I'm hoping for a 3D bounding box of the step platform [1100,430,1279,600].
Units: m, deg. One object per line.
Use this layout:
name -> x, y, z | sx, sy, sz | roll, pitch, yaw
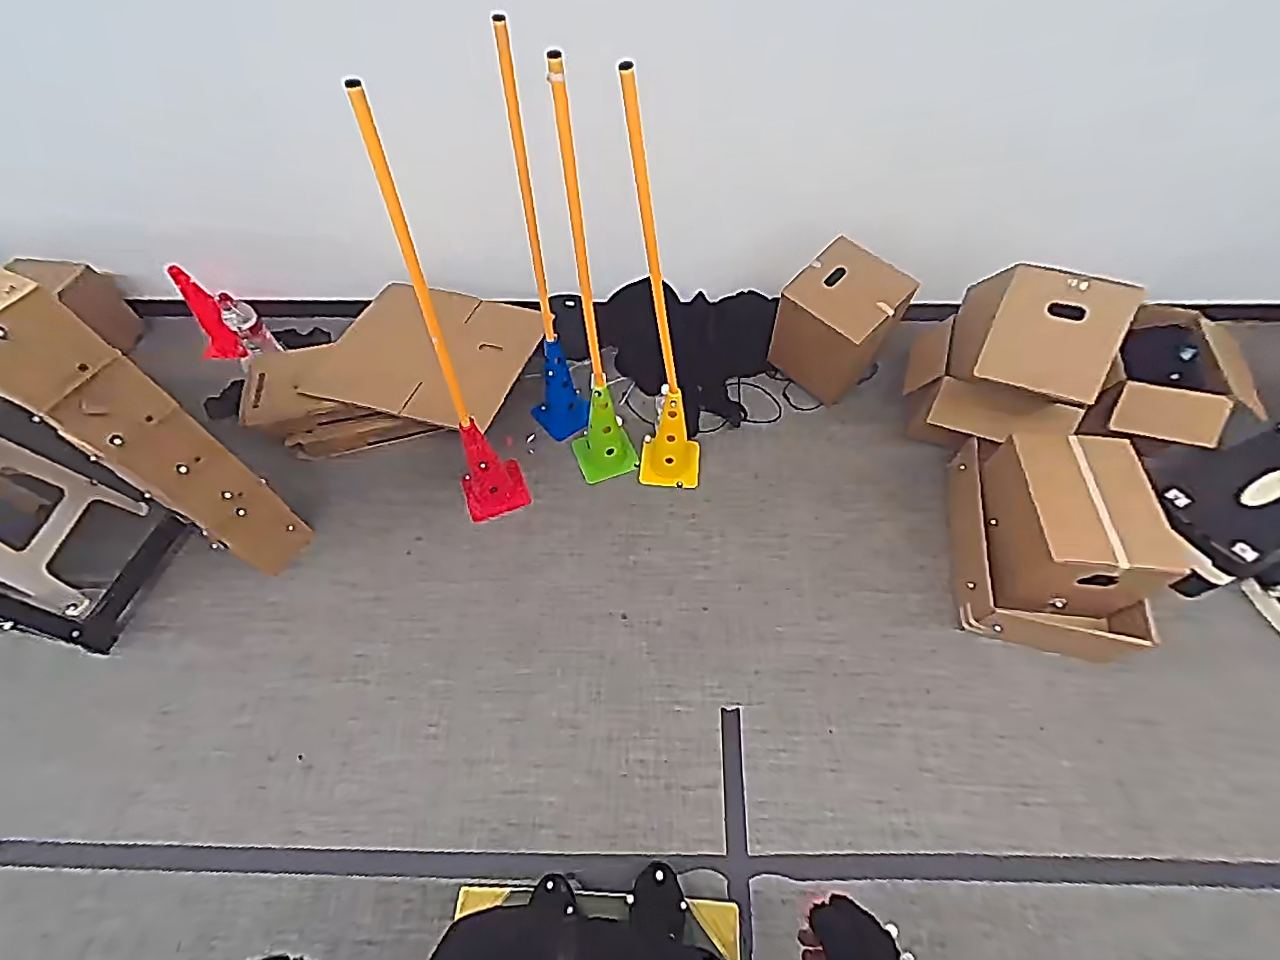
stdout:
step platform -> 1.817, 0.096, 1.674 | 0.684, 0.204, 0.286 | -23, 59, -14
